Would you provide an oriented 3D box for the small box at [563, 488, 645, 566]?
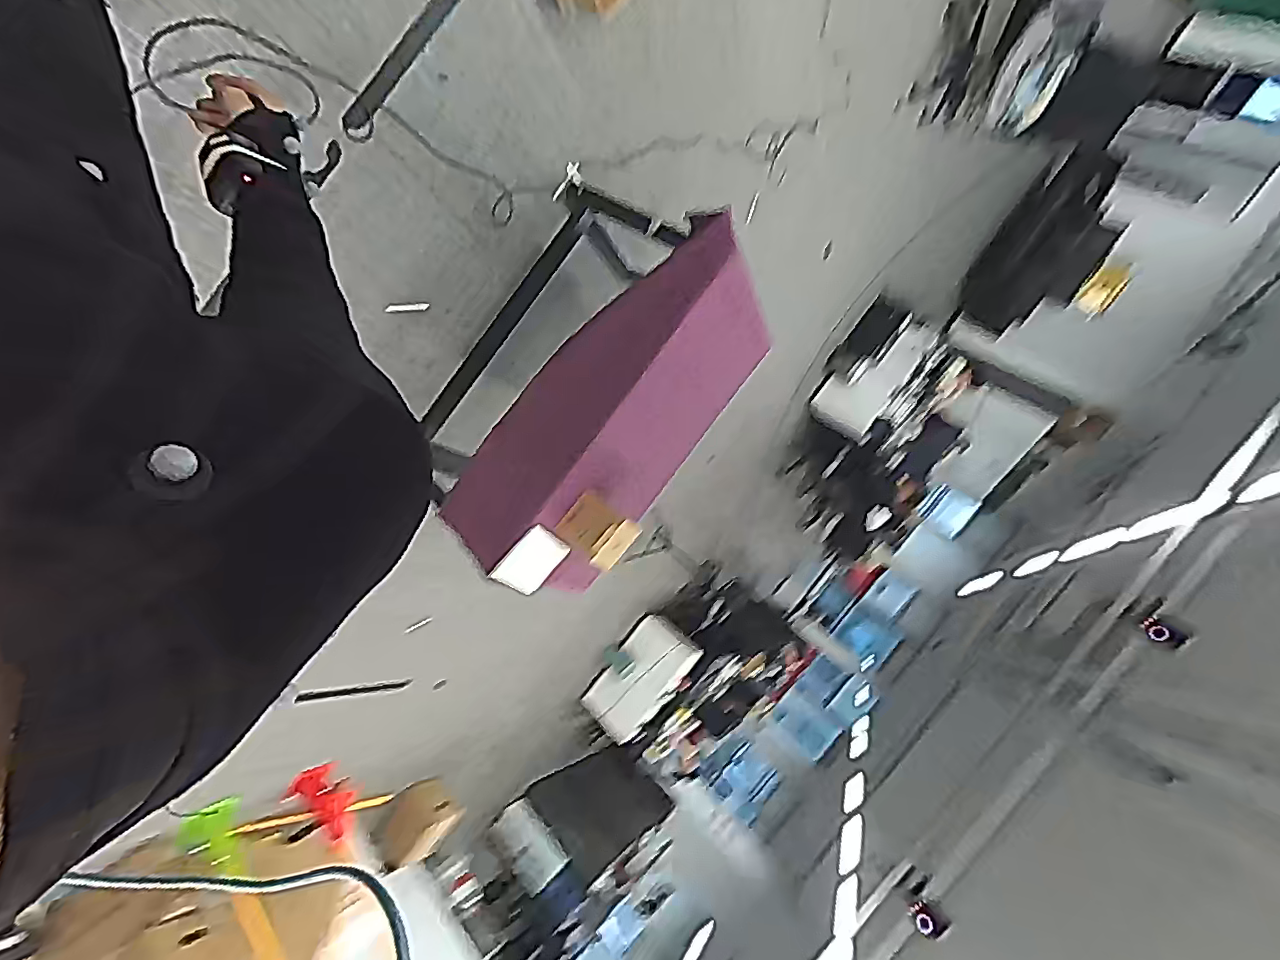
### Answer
[{"bbox_3d":[-0.117,0.148,1.731,0.168,0.176,0.179,-50,154,-2],"label":"small box"}]
